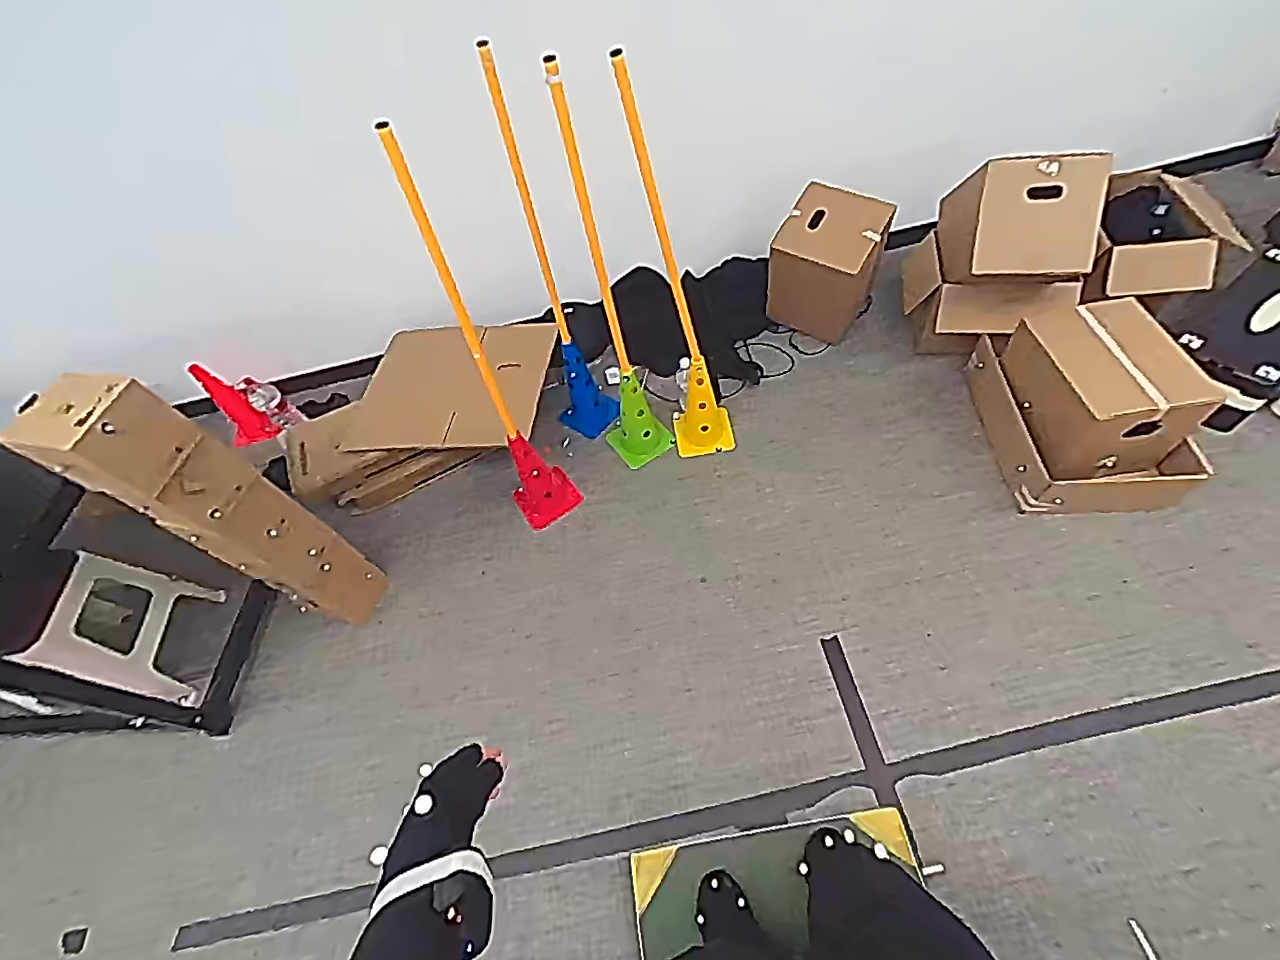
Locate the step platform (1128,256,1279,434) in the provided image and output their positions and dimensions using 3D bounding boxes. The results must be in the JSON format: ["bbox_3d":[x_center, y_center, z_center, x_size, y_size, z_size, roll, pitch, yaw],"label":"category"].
[{"bbox_3d":[1.930,-0.447,1.738,0.684,0.204,0.286,-37,58,-14],"label":"step platform"}]
